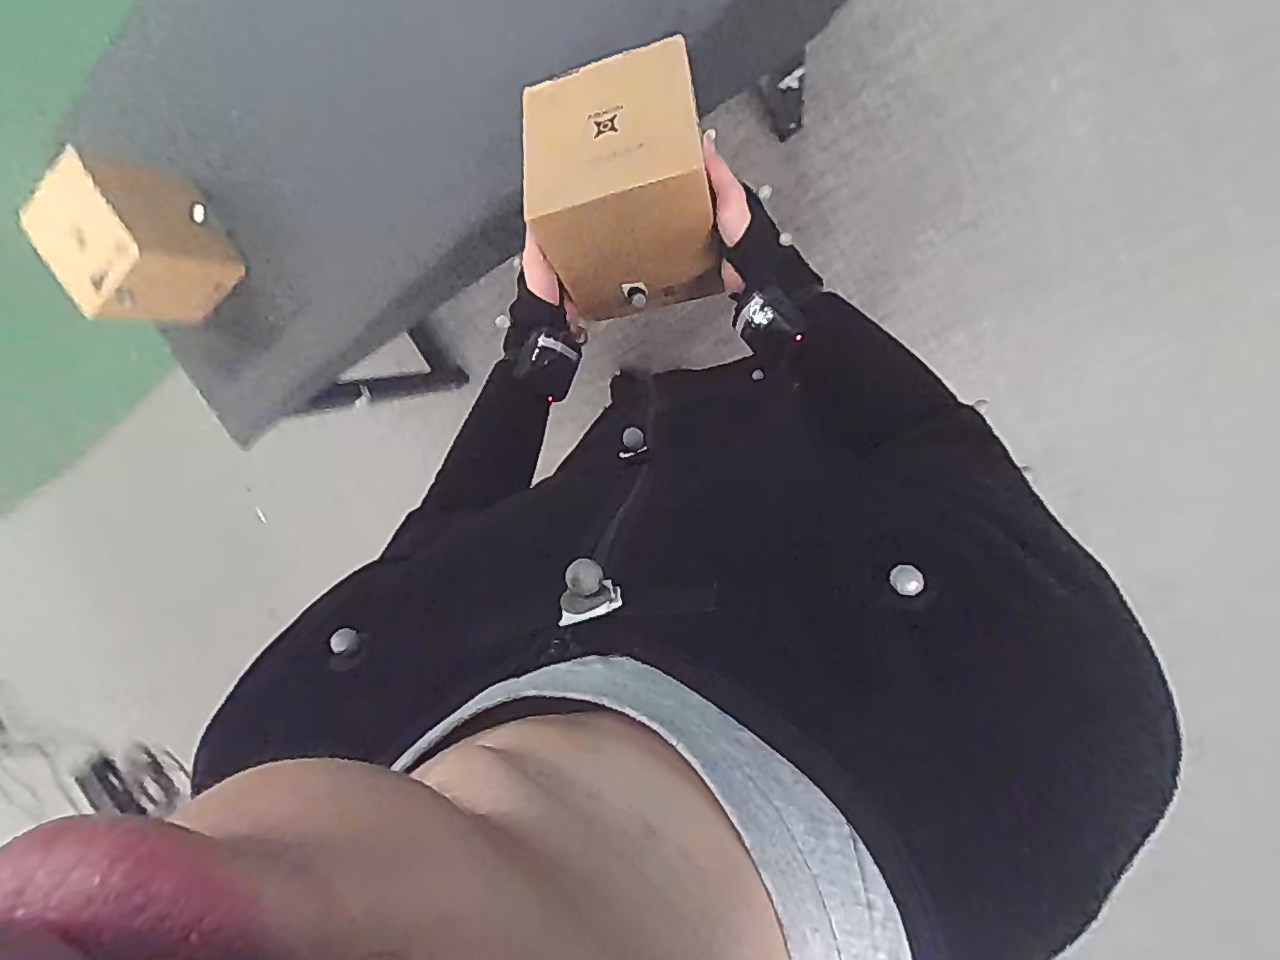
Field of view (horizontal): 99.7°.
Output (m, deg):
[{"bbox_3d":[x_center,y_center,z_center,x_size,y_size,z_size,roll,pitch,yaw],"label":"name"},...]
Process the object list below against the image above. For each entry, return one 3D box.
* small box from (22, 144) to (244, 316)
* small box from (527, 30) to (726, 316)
[{"bbox_3d":[-0.794,-0.379,0.861,0.168,0.176,0.179,-30,95,21],"label":"small box"},{"bbox_3d":[-0.006,-0.303,0.564,0.168,0.176,0.179,-8,71,12],"label":"small box"}]
